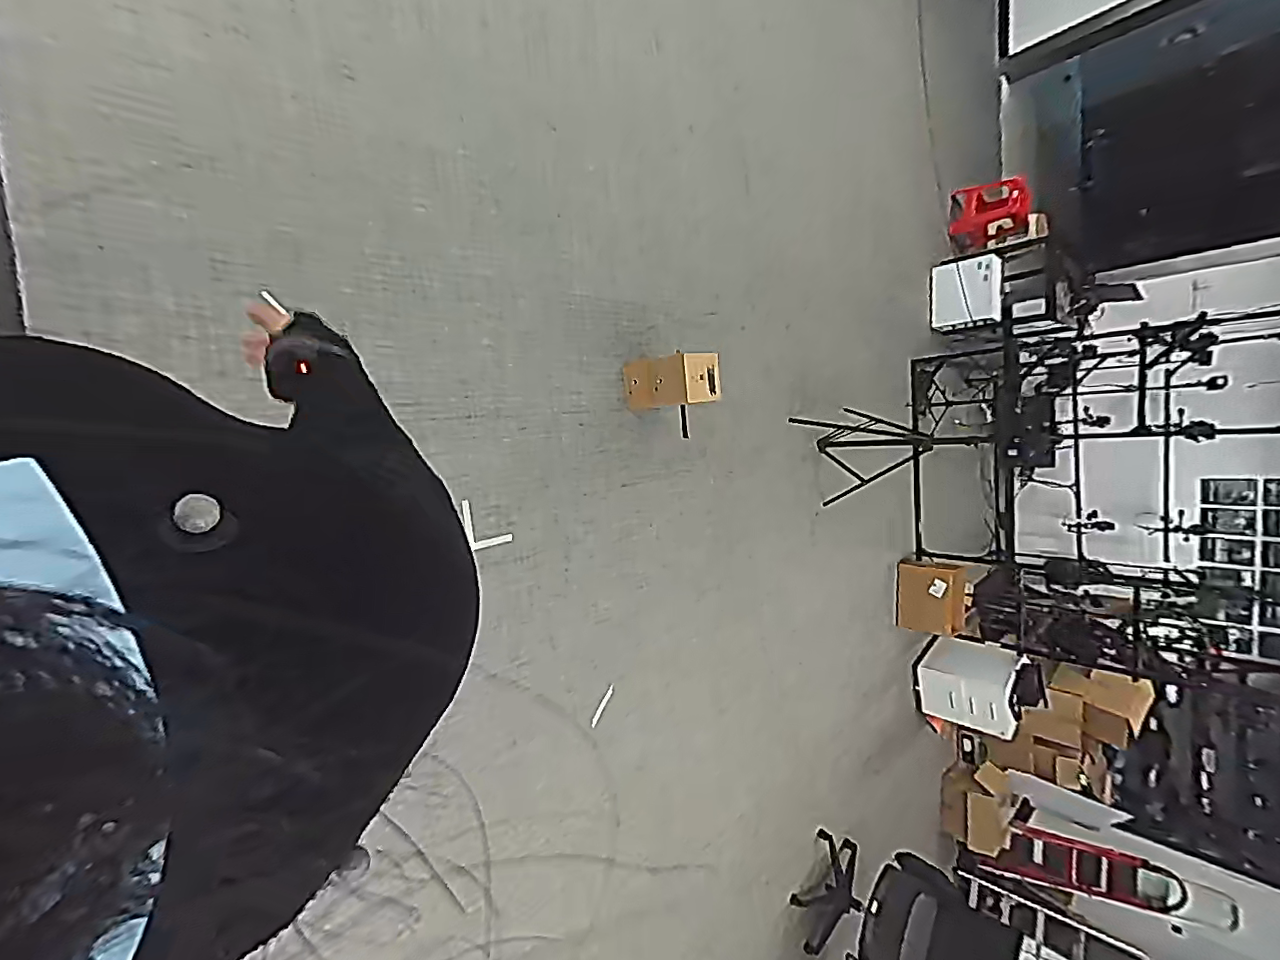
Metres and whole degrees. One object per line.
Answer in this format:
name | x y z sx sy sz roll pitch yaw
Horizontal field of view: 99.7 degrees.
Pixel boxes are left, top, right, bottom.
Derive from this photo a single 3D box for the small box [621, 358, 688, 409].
small box | 0.054 -0.362 2.033 0.179 0.176 0.168 -16 102 -41
